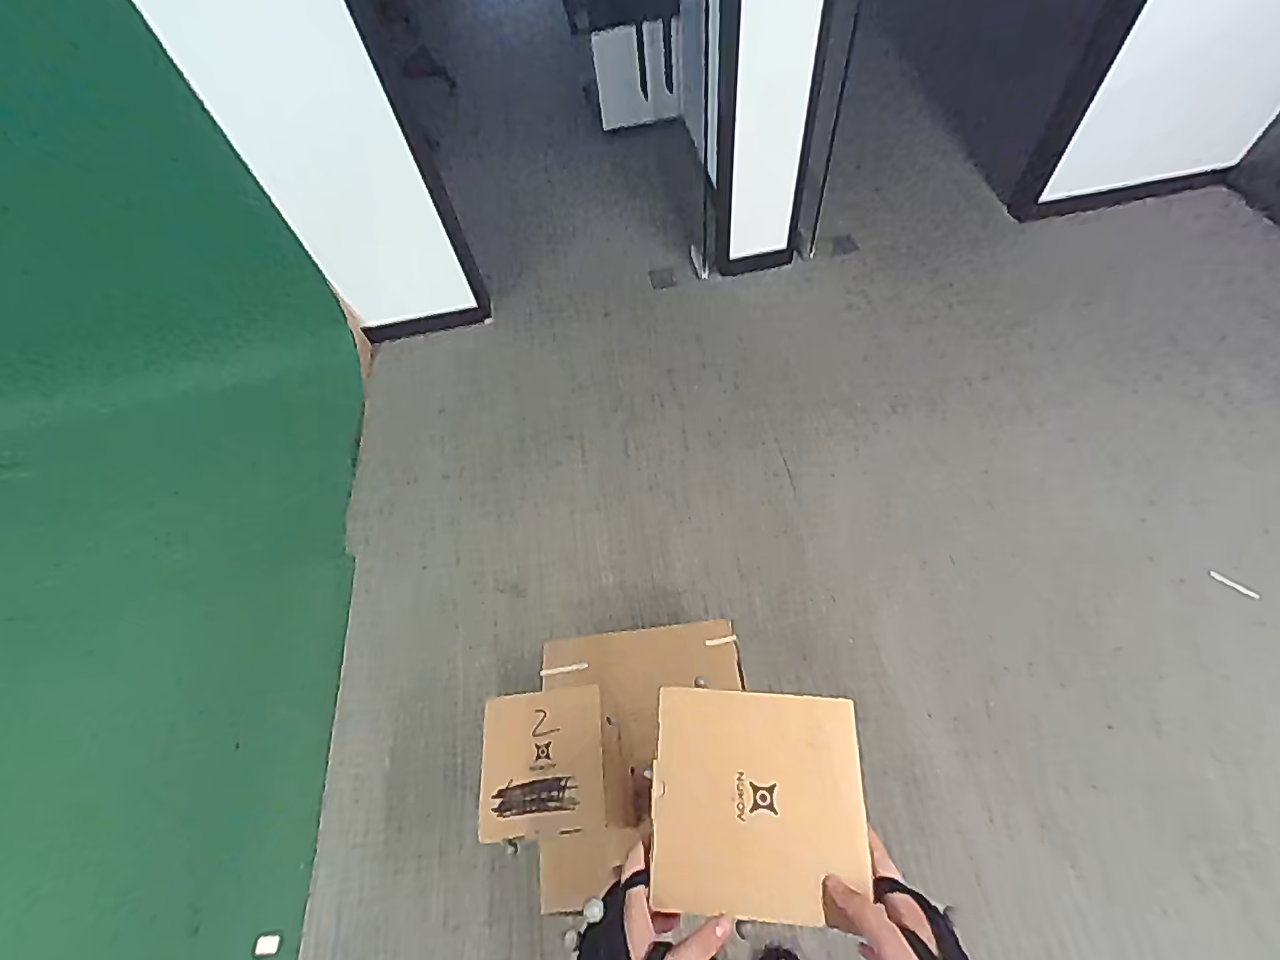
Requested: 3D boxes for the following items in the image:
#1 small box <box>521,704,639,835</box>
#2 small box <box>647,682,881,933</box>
[{"bbox_3d":[-0.093,0.497,0.924,0.168,0.176,0.179,-6,56,5],"label":"small box"},{"bbox_3d":[0.101,0.293,0.509,0.179,0.176,0.168,2,61,5],"label":"small box"}]
